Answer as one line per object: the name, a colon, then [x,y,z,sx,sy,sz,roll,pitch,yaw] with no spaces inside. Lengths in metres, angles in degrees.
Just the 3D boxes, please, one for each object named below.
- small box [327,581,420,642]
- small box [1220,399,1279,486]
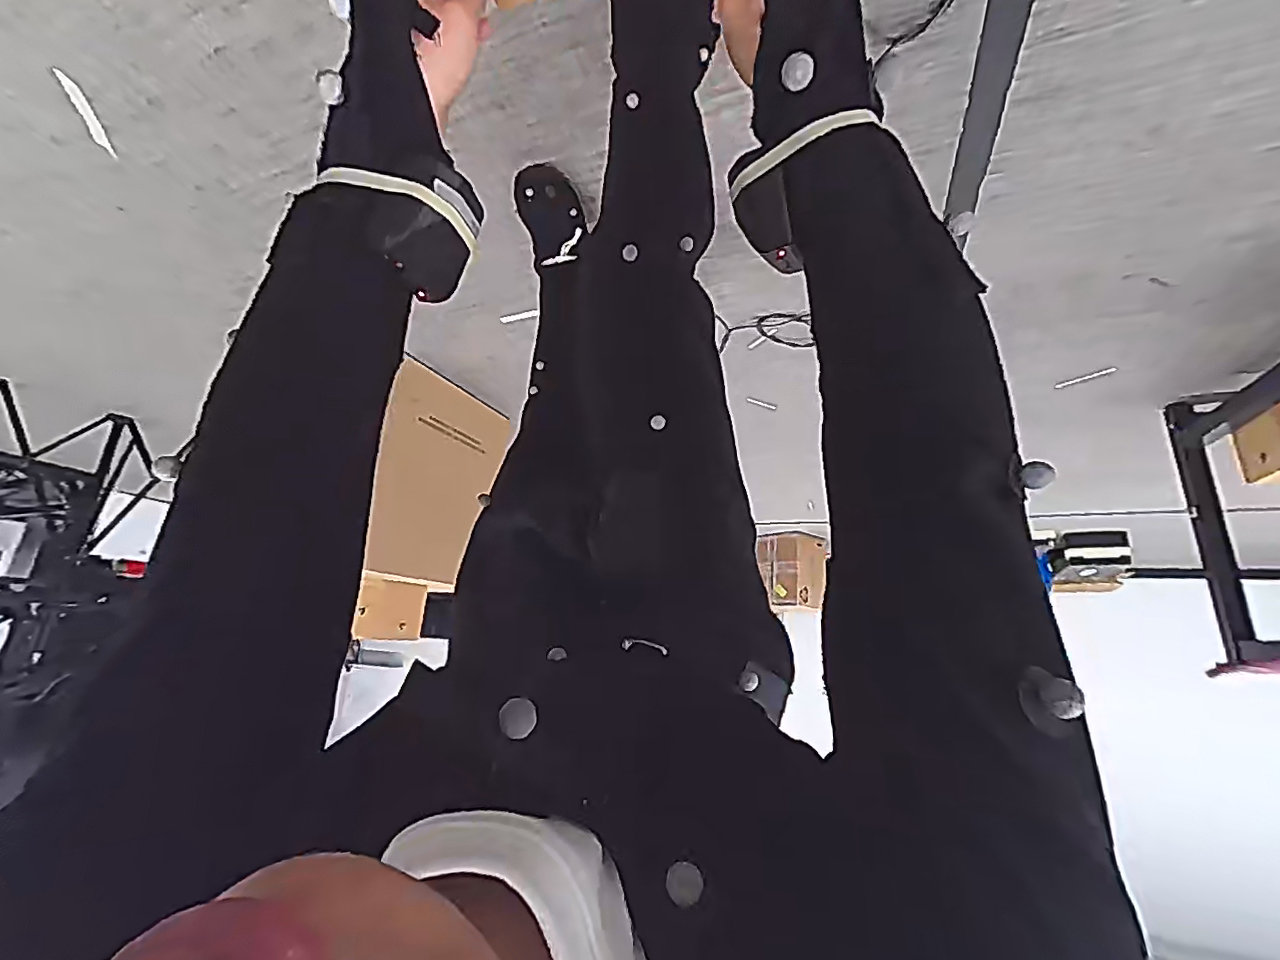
small box: [-0.786,0.392,1.611,0.168,0.176,0.179,-4,162,22]
small box: [1.586,-0.094,1.324,0.168,0.176,0.179,-3,161,22]
